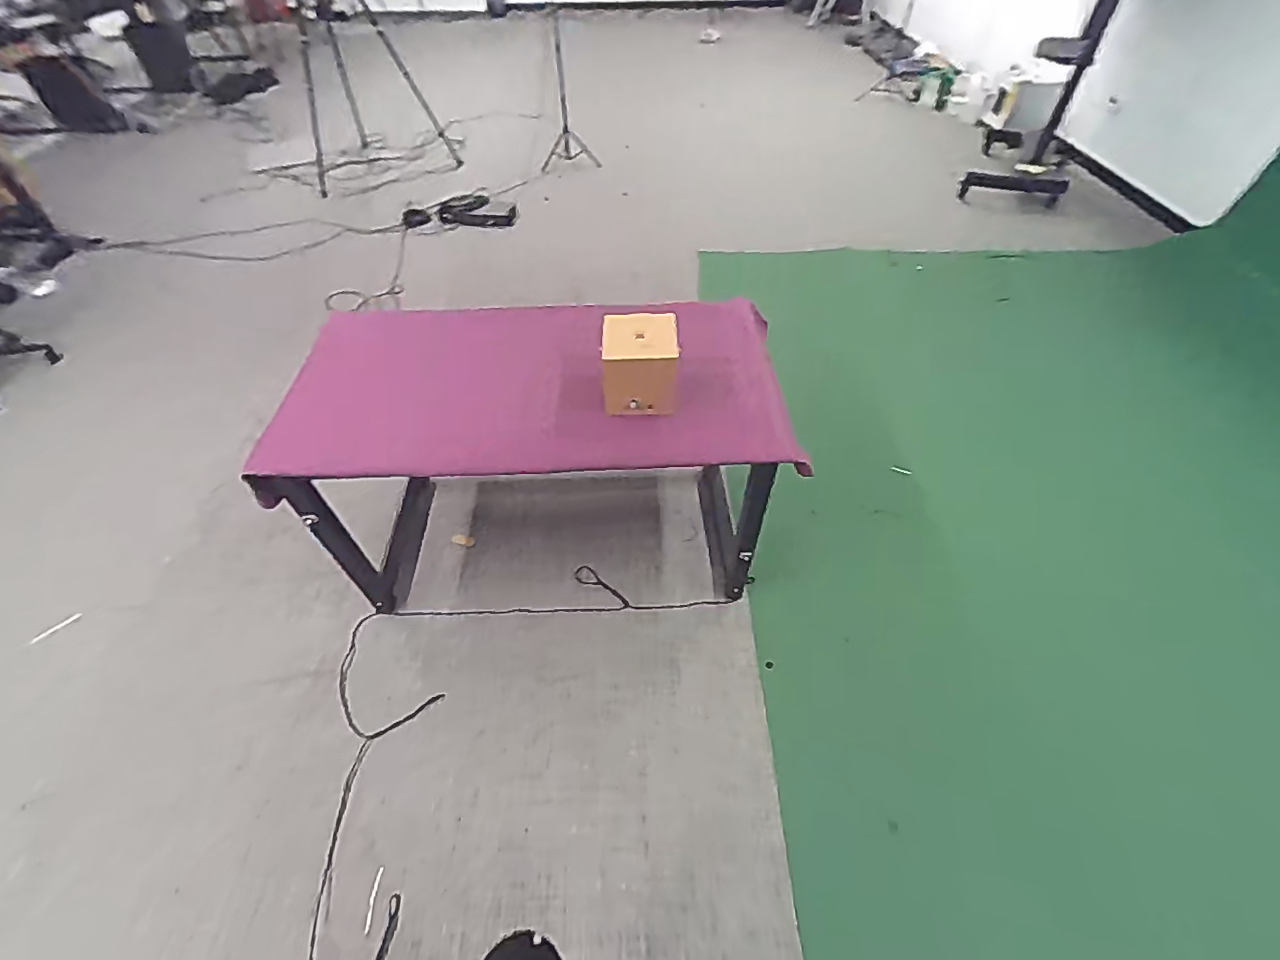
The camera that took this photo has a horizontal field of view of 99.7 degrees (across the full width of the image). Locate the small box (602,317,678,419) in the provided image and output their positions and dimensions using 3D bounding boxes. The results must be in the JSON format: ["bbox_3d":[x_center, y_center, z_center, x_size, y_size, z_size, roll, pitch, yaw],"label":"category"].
[{"bbox_3d":[0.001,-0.264,1.274,0.168,0.176,0.179,-1,49,1],"label":"small box"}]
